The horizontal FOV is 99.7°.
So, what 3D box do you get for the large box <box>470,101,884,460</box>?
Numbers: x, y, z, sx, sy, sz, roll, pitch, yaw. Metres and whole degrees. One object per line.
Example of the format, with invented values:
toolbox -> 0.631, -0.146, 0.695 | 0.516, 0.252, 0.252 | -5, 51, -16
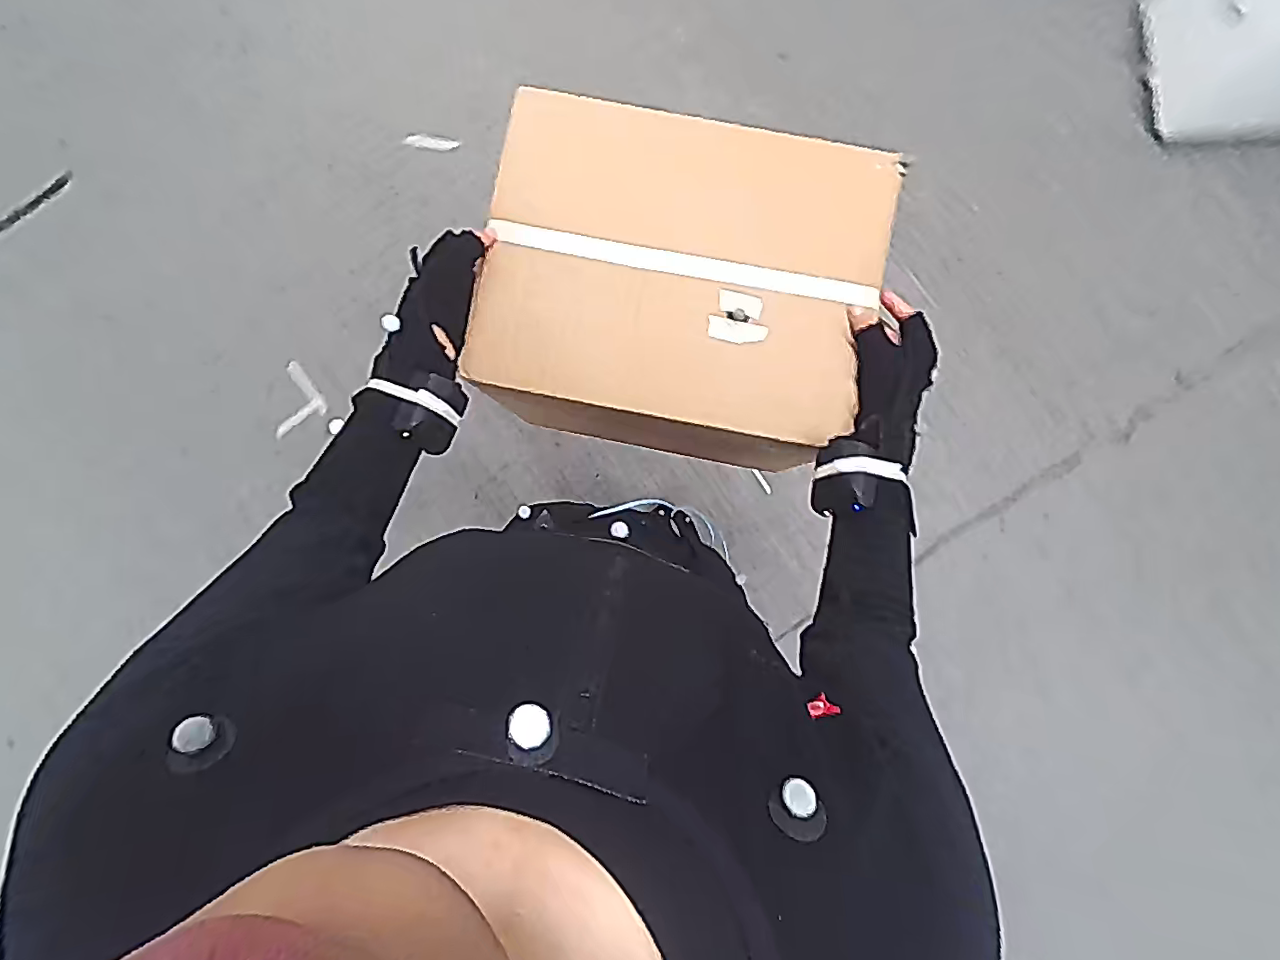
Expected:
large box -> 0.039, -0.218, 0.715 | 0.408, 0.320, 0.320 | 10, 89, 1
